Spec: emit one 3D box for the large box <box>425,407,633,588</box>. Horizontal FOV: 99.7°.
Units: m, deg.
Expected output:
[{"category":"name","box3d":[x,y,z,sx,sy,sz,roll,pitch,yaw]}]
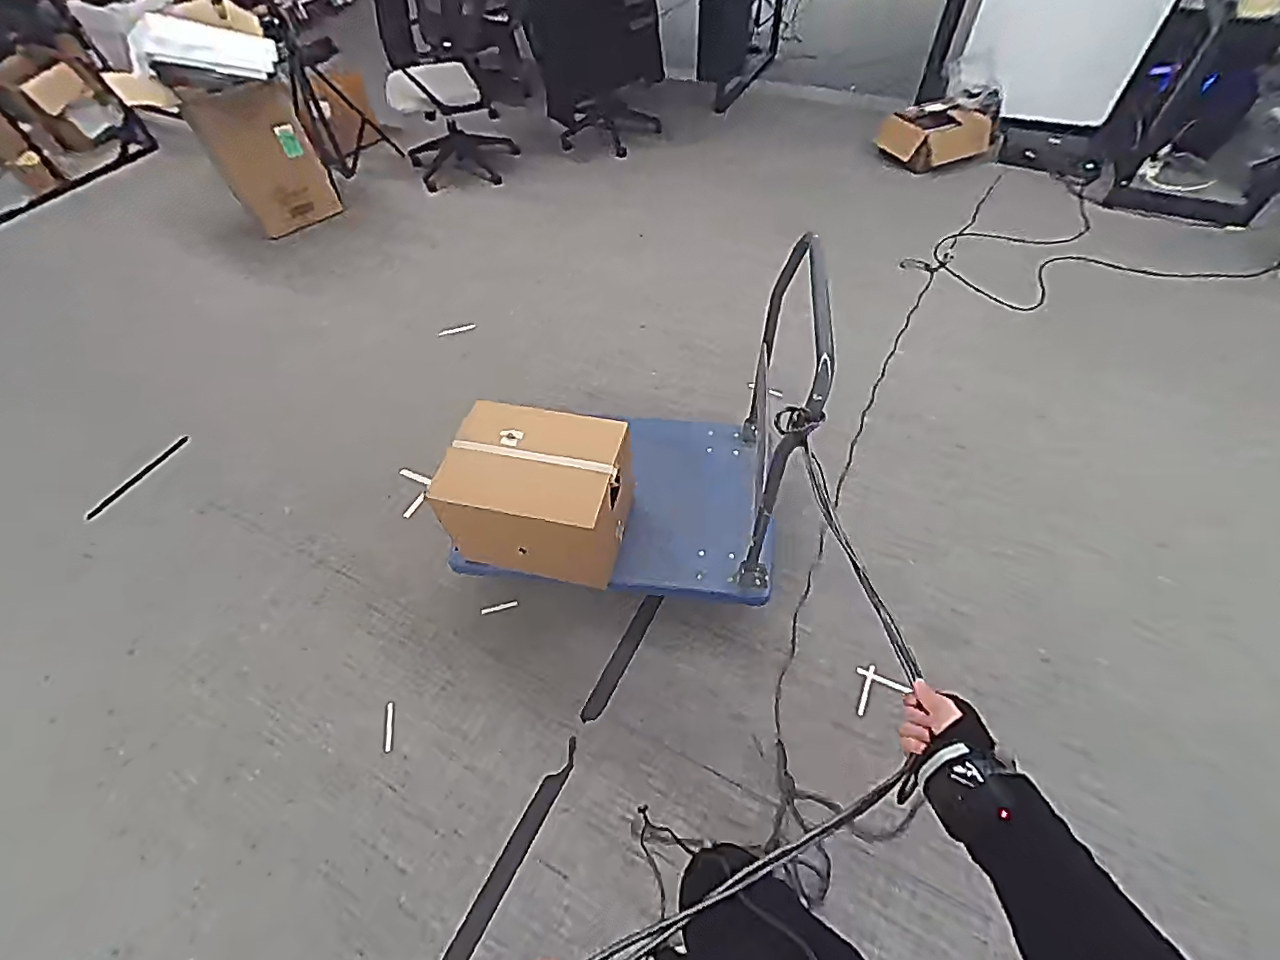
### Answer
[{"category":"large box","box3d":[-0.250,0.048,1.381,0.408,0.320,0.320,9,54,10]}]
